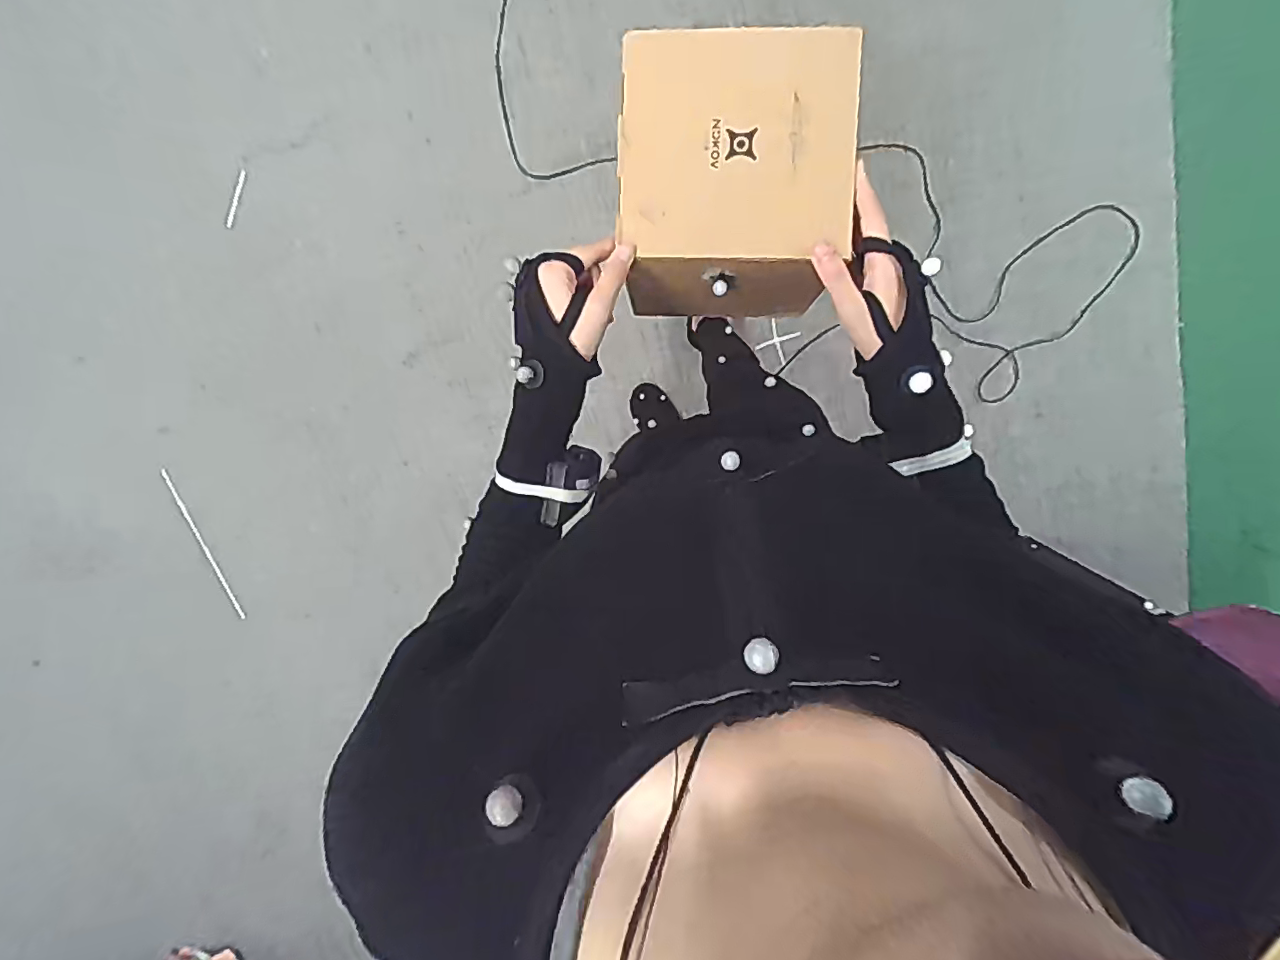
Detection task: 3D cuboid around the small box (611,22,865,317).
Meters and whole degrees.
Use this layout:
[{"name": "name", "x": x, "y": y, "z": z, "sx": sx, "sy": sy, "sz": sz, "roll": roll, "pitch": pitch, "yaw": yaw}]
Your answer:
[{"name": "small box", "x": 0.074, "y": -0.248, "z": 0.471, "sx": 0.179, "sy": 0.176, "sz": 0.168, "roll": 3, "pitch": 92, "yaw": 3}]
